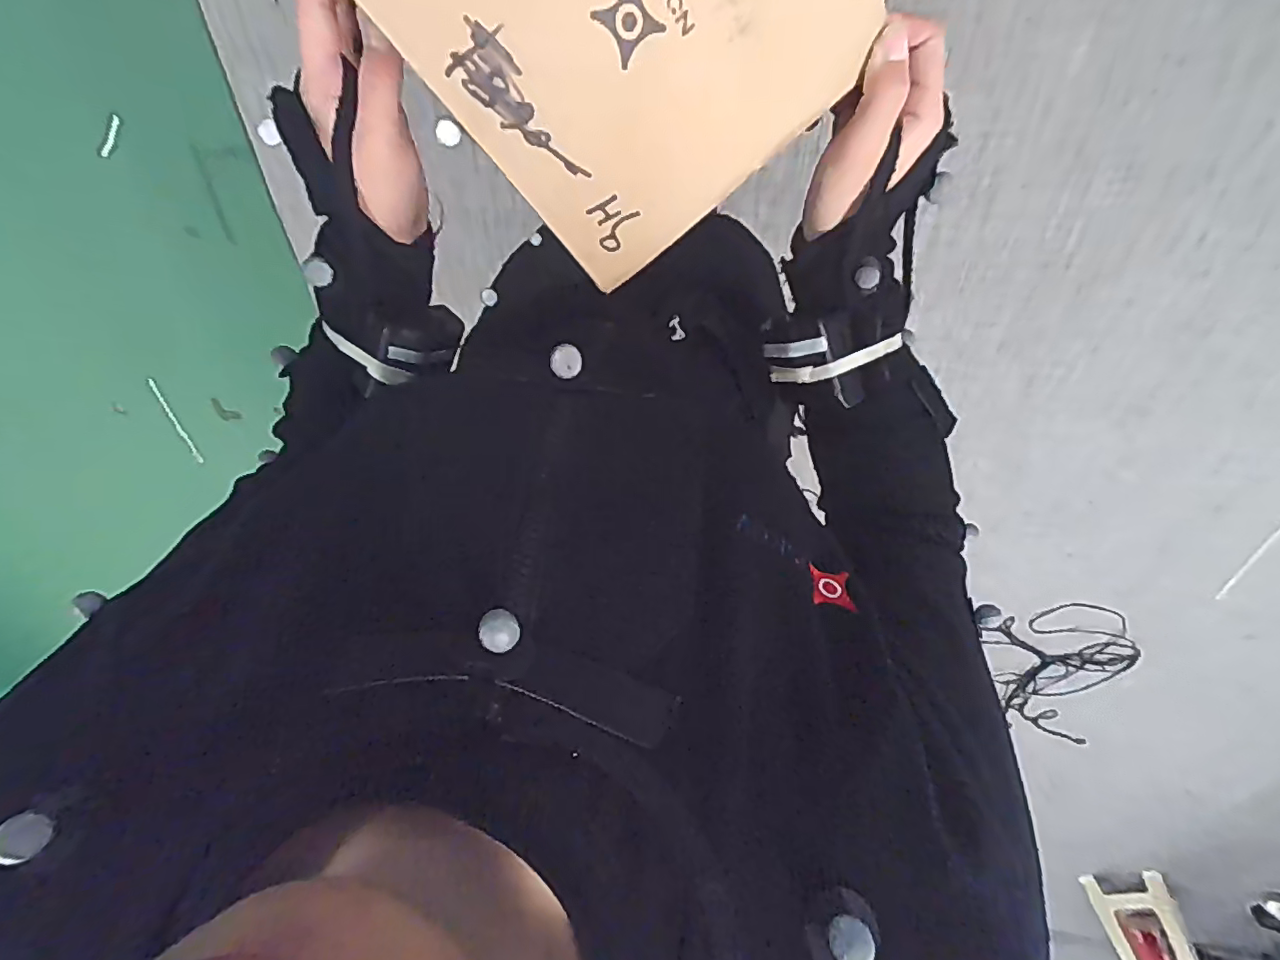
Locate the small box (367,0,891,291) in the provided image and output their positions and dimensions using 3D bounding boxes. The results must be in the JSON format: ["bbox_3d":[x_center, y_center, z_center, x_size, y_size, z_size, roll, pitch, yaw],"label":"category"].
[{"bbox_3d":[-0.016,-0.240,0.273,0.179,0.176,0.168,-36,131,13],"label":"small box"}]
